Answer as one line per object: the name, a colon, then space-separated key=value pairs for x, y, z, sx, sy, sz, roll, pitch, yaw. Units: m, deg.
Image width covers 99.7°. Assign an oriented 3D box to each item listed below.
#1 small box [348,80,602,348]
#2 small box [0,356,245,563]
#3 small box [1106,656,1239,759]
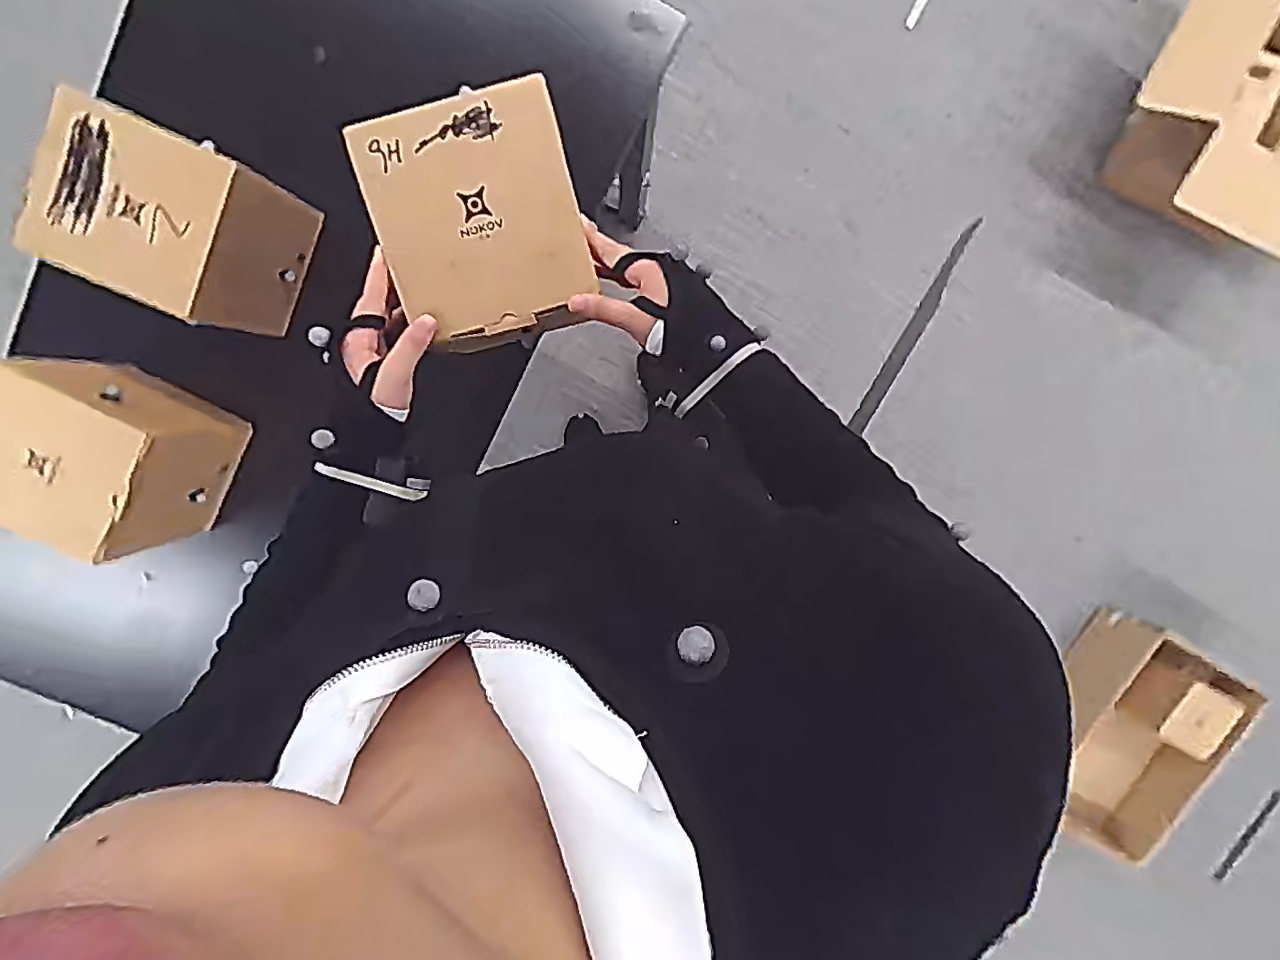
small box: x=-0.135 y=-0.231 z=0.520 sx=0.168 sy=0.176 sz=0.179 roll=-14 pitch=102 yaw=0
small box: x=-0.636 y=-0.028 z=0.646 sx=0.179 sy=0.176 sz=0.168 roll=27 pitch=96 yaw=-6
small box: x=1.484 y=0.630 z=1.521 sx=0.168 sy=0.176 sz=0.179 roll=28 pitch=98 yaw=-4
